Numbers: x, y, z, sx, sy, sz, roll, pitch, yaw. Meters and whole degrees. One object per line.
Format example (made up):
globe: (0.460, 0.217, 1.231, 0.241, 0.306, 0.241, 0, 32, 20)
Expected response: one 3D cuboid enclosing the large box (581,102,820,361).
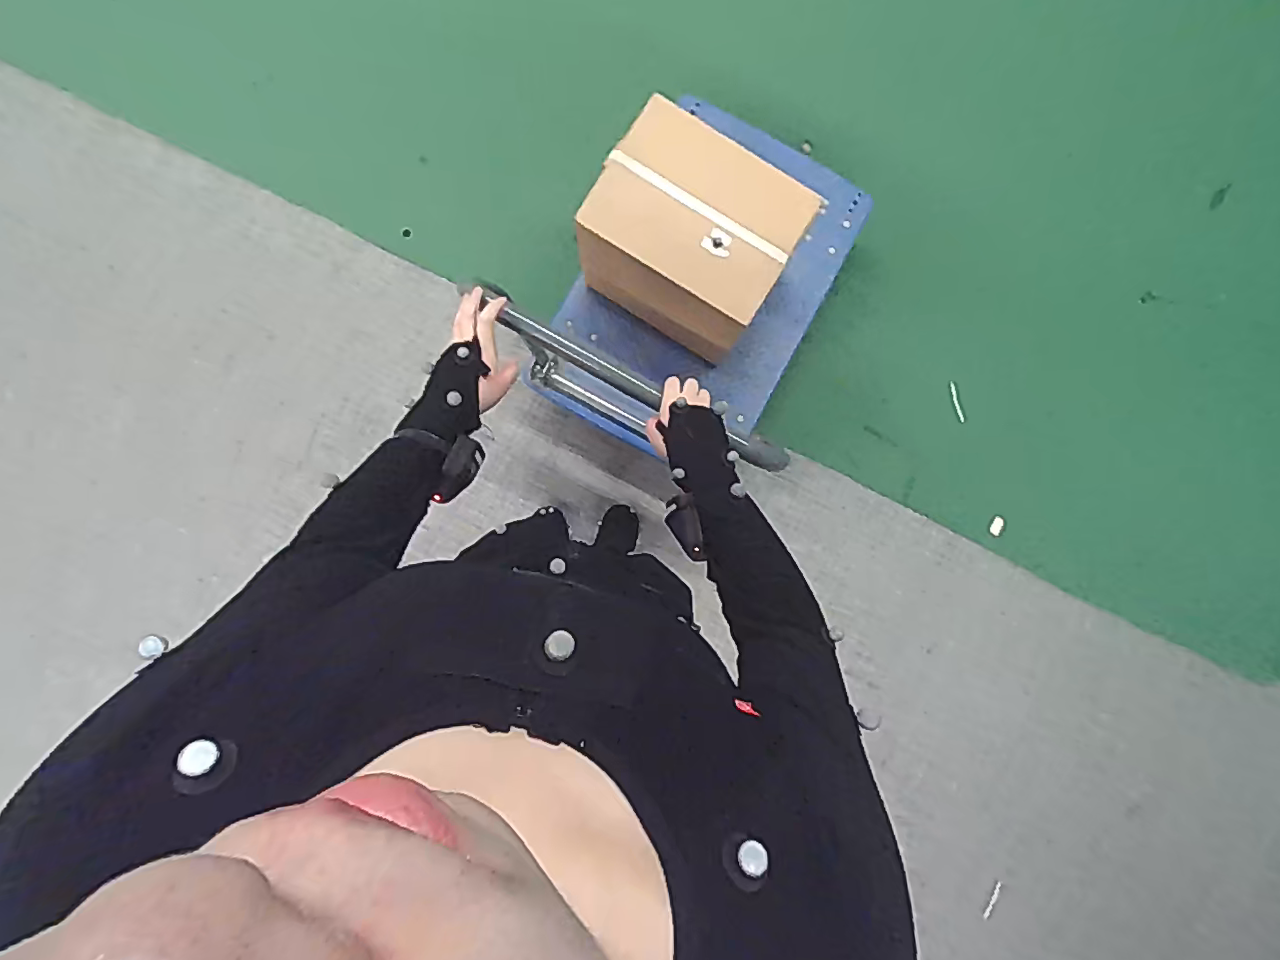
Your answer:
large box: (0.115, -0.538, 1.241, 0.408, 0.320, 0.320, 32, 86, -1)
